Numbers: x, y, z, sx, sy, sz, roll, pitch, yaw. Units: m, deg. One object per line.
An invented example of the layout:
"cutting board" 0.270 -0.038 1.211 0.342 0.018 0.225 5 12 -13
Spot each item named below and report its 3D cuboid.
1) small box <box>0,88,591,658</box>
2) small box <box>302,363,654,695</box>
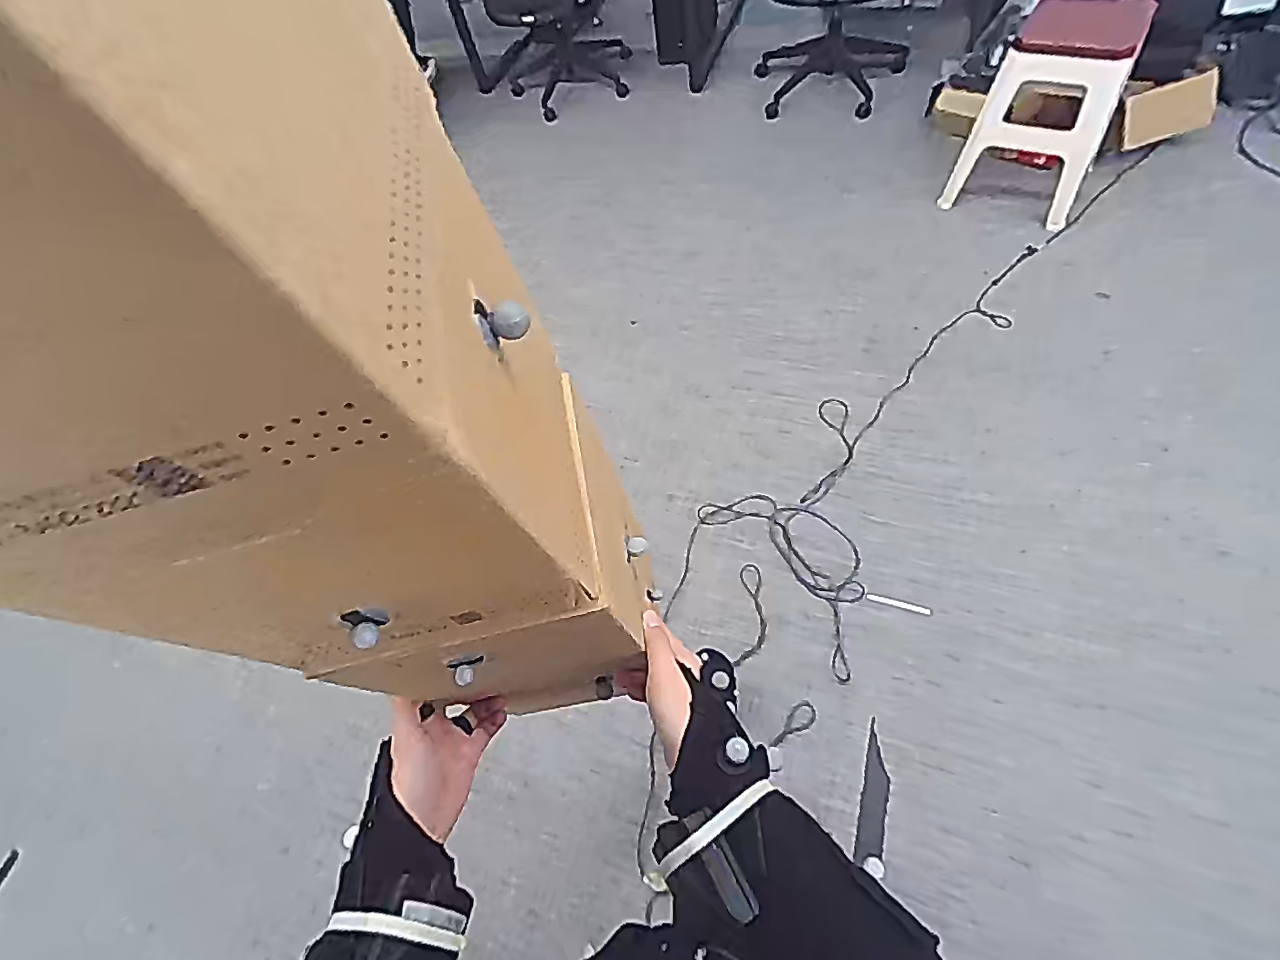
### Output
"small box" -0.131 -0.033 0.256 0.168 0.176 0.179 -15 61 3
"small box" -0.098 0.049 0.393 0.179 0.176 0.168 -14 61 3
